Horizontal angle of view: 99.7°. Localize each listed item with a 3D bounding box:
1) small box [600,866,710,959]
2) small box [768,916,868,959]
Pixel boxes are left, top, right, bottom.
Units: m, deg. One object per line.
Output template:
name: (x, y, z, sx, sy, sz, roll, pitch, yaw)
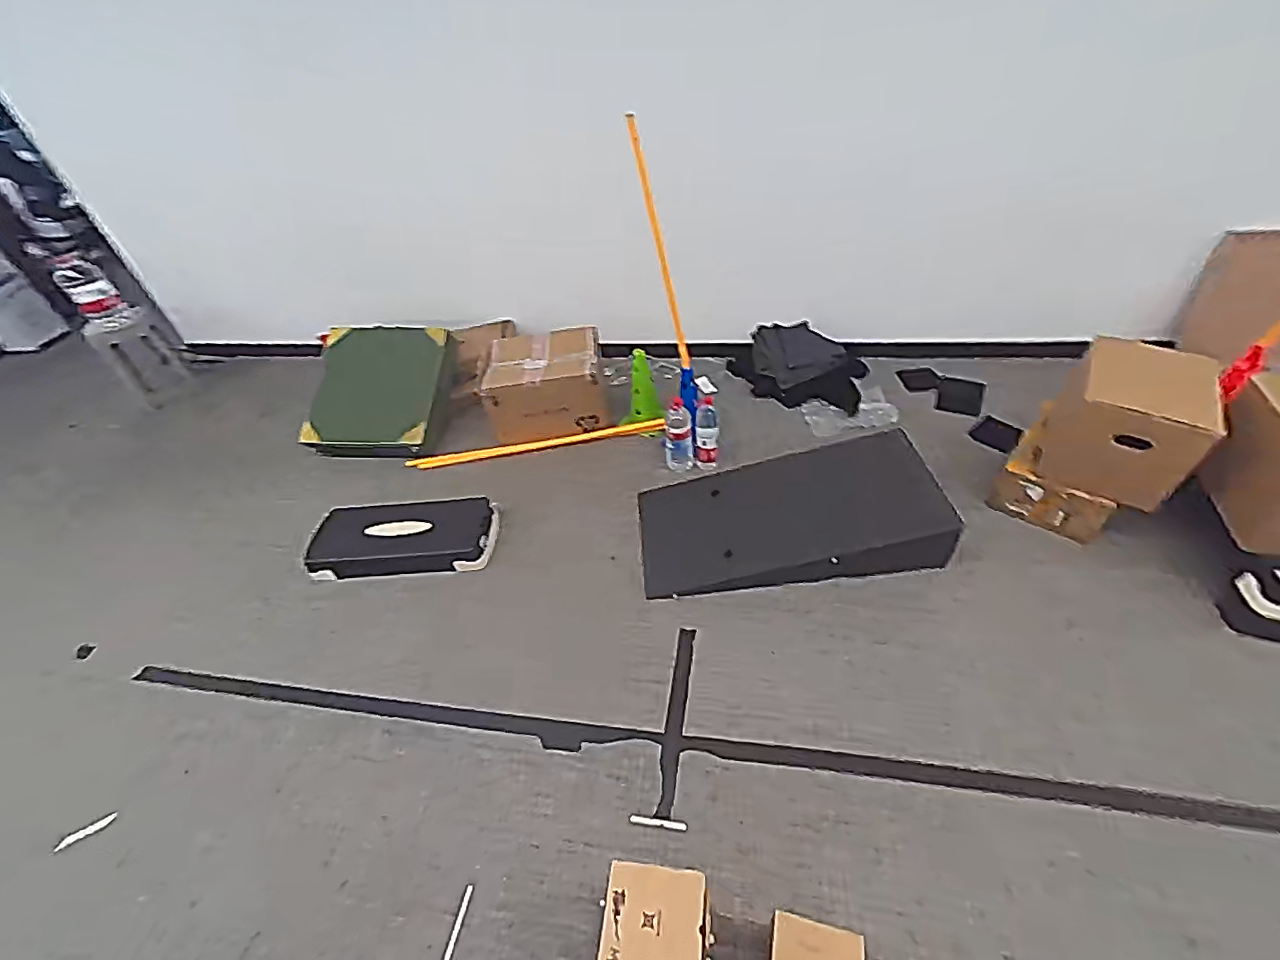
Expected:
small box: (0.031, 0.819, 0.967, 0.179, 0.176, 0.168, 3, 44, 9)
small box: (0.325, 0.966, 1.015, 0.168, 0.176, 0.179, 8, 45, 15)
